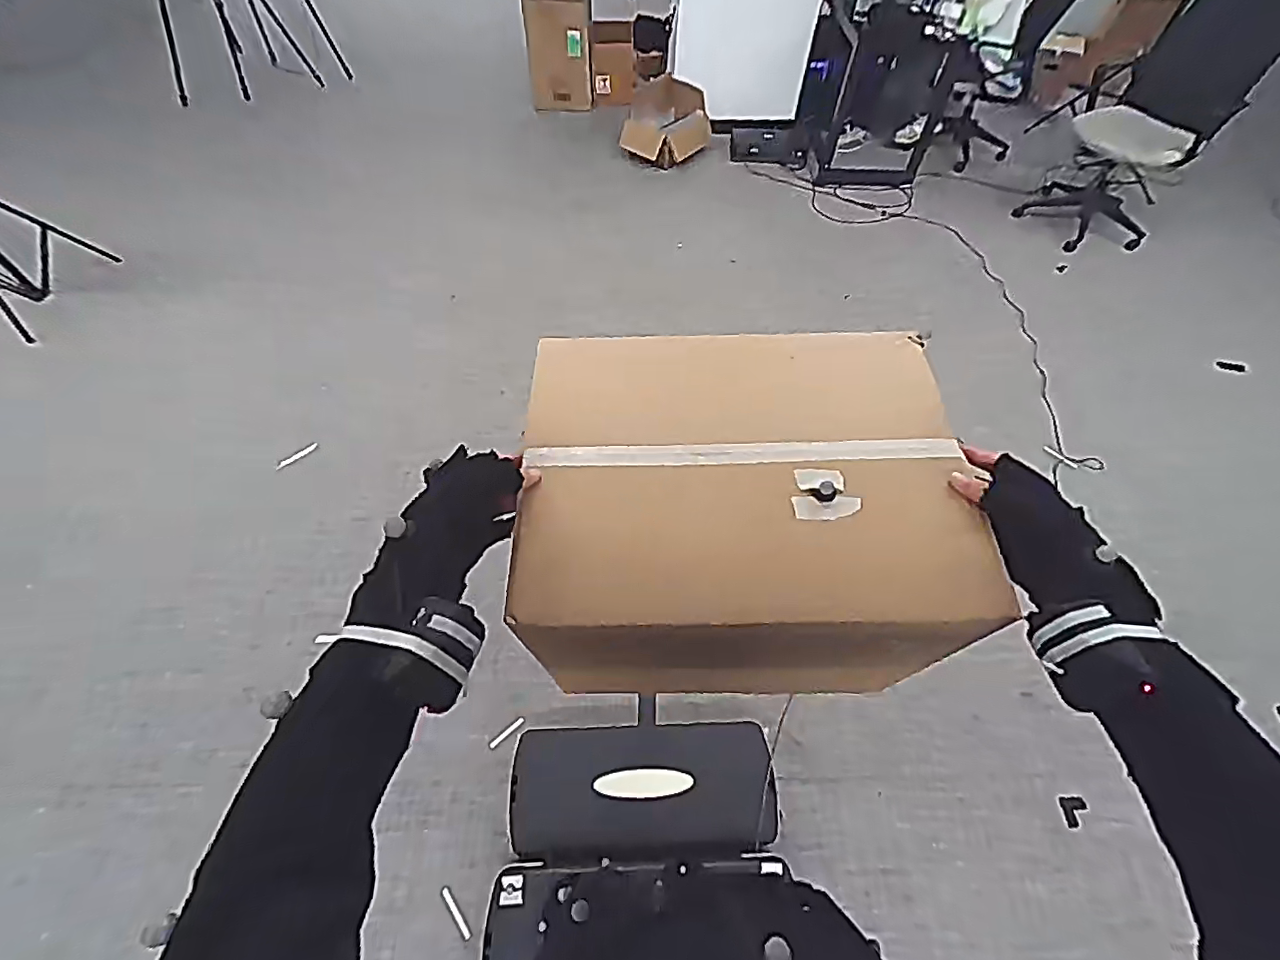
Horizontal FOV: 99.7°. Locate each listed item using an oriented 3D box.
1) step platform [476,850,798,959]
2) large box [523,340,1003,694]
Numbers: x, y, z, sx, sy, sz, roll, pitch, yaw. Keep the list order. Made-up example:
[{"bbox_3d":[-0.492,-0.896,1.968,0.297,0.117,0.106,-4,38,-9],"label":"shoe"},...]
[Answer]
[{"bbox_3d":[-0.006,1.004,1.187,0.684,0.204,0.286,-3,55,-1],"label":"step platform"},{"bbox_3d":[0.097,0.060,0.643,0.408,0.320,0.320,-1,60,0],"label":"large box"}]
